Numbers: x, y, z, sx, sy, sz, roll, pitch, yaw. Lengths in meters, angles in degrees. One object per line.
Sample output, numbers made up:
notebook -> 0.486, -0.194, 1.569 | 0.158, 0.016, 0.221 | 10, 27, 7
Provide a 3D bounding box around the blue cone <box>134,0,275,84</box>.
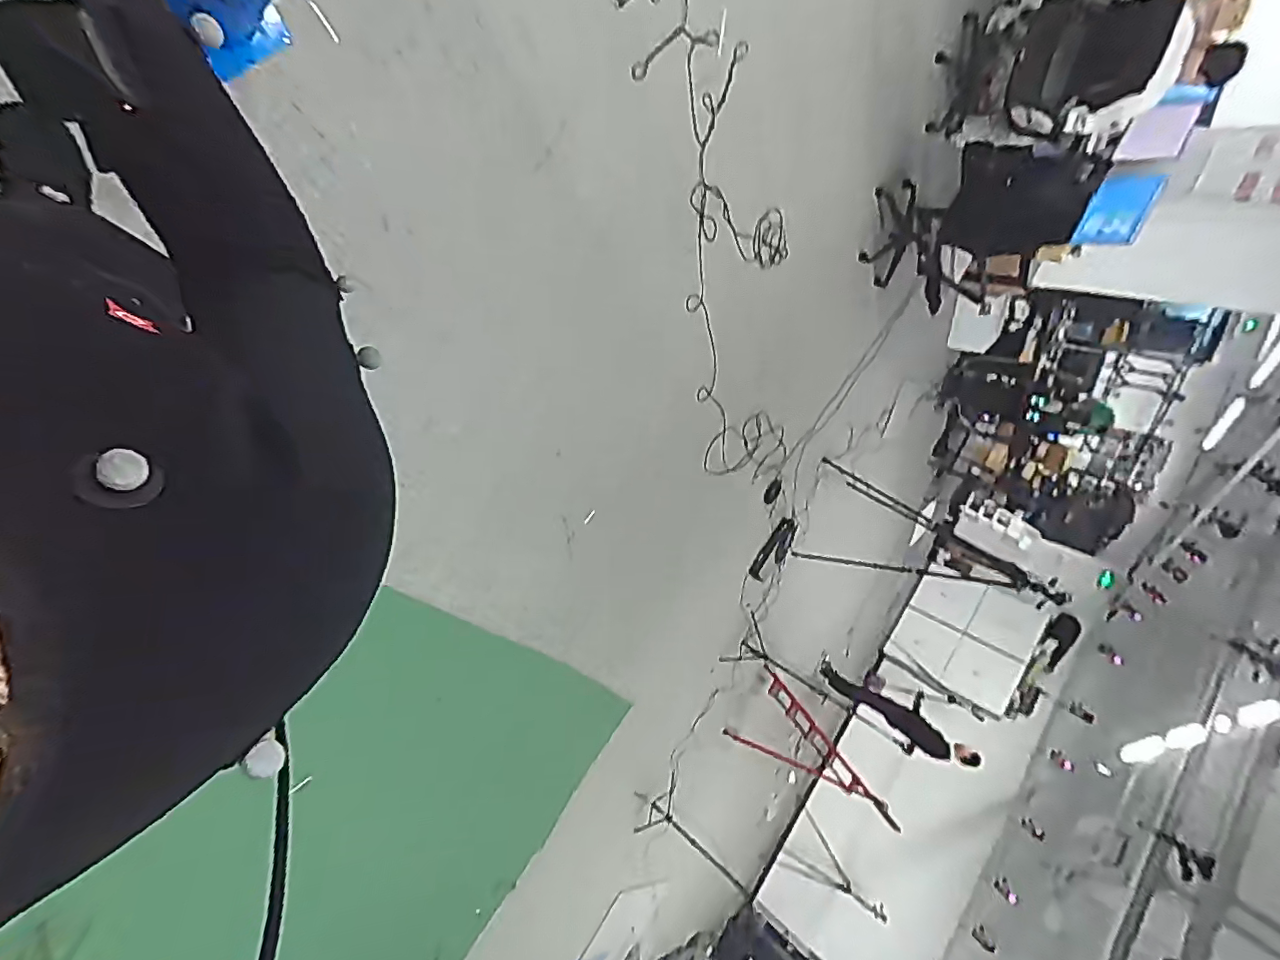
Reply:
blue cone -> -0.704, -0.824, 0.914 | 0.192, 0.380, 0.193 | -49, 141, -19
